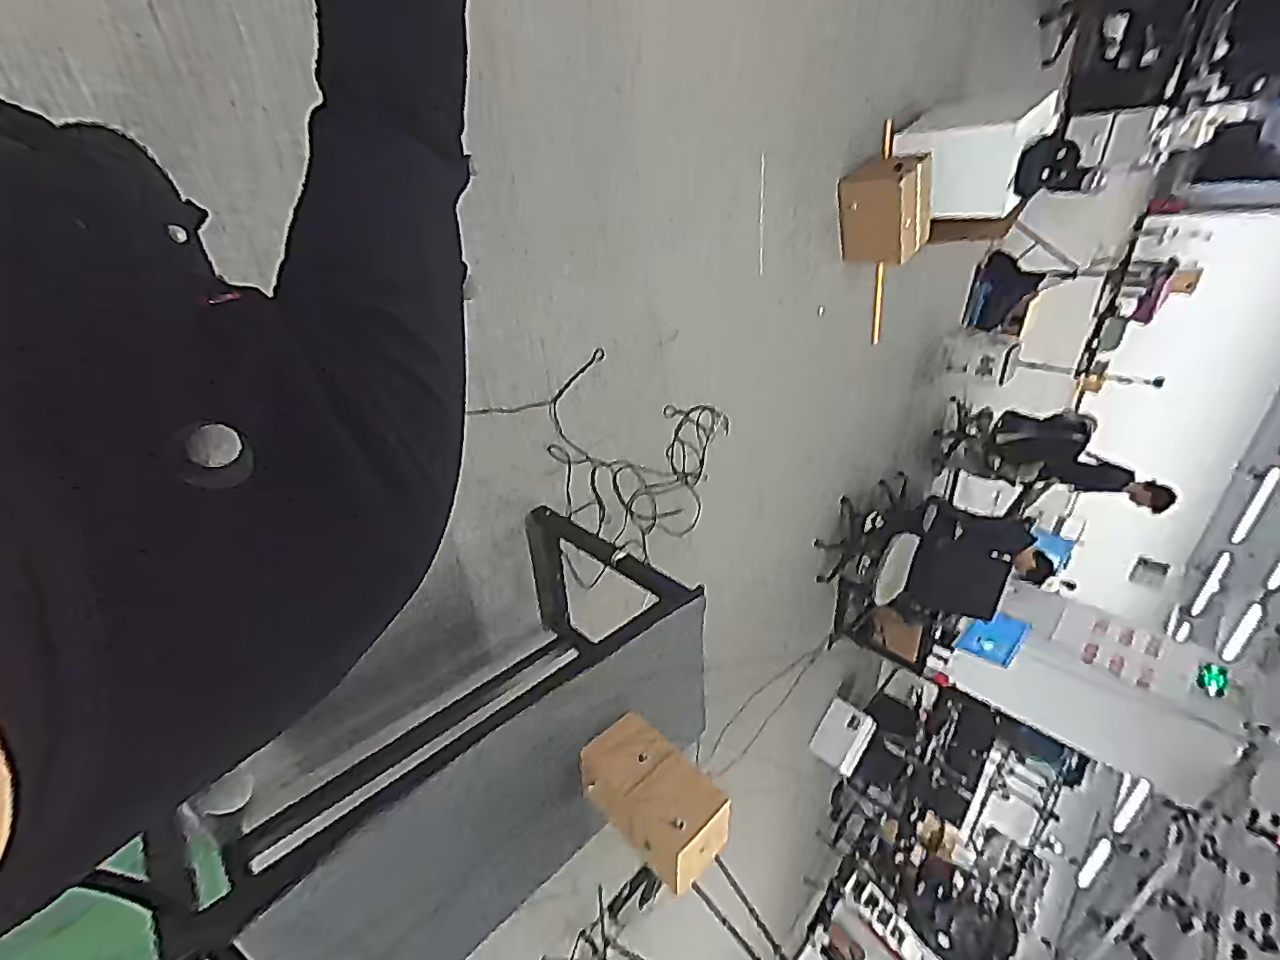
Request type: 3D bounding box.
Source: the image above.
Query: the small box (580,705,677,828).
[{"bbox_3d":[-0.029,0.704,1.351,0.179,0.176,0.168,-24,124,-38],"label":"small box"}]

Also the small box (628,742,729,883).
[{"bbox_3d":[0.083,0.751,1.238,0.179,0.176,0.168,-25,126,-38],"label":"small box"}]
